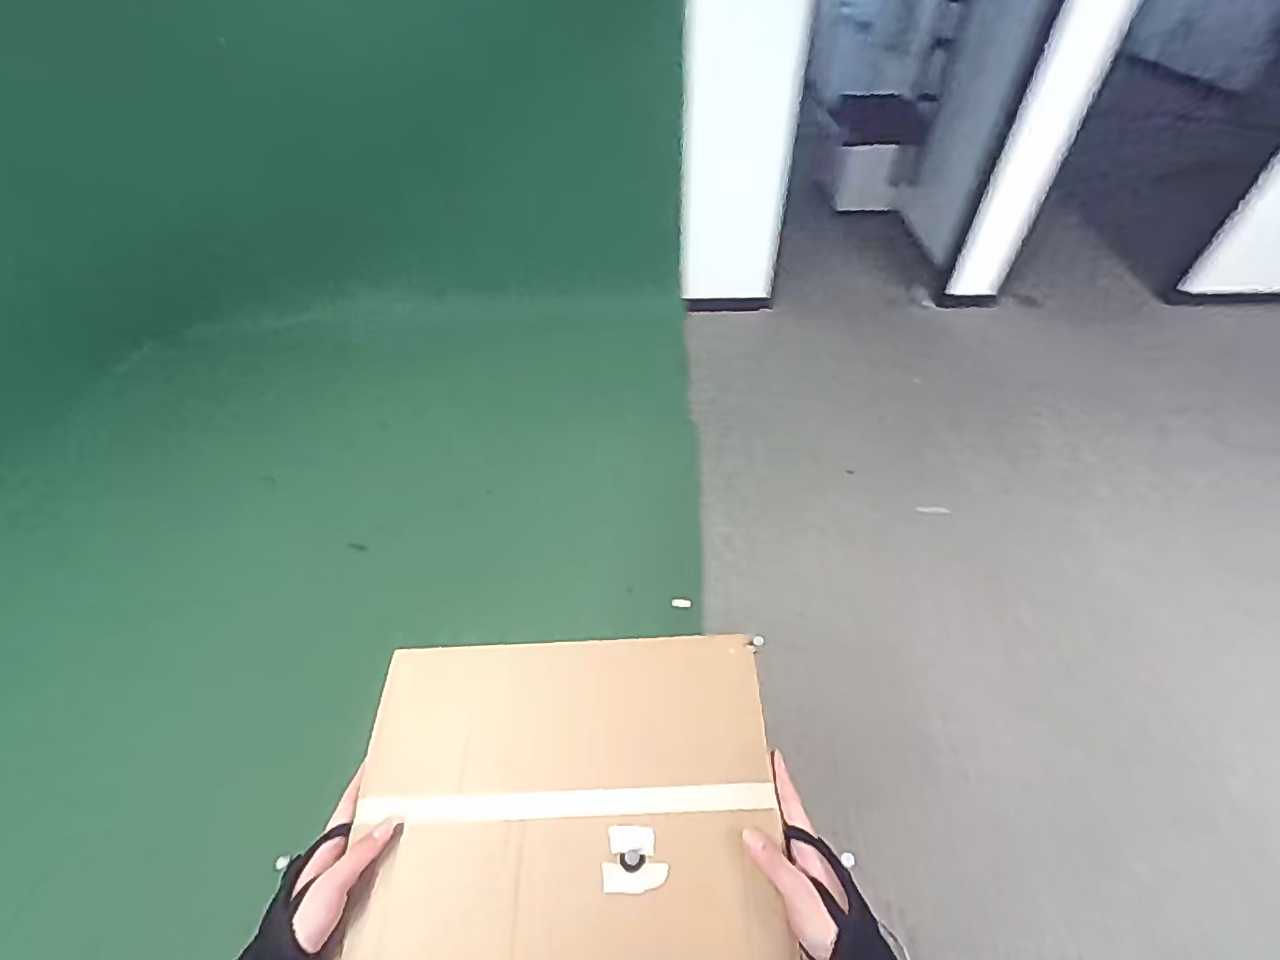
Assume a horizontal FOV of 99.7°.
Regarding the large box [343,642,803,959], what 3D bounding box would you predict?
[{"bbox_3d":[-0.057,0.405,0.650,0.408,0.320,0.320,-3,55,2],"label":"large box"}]
